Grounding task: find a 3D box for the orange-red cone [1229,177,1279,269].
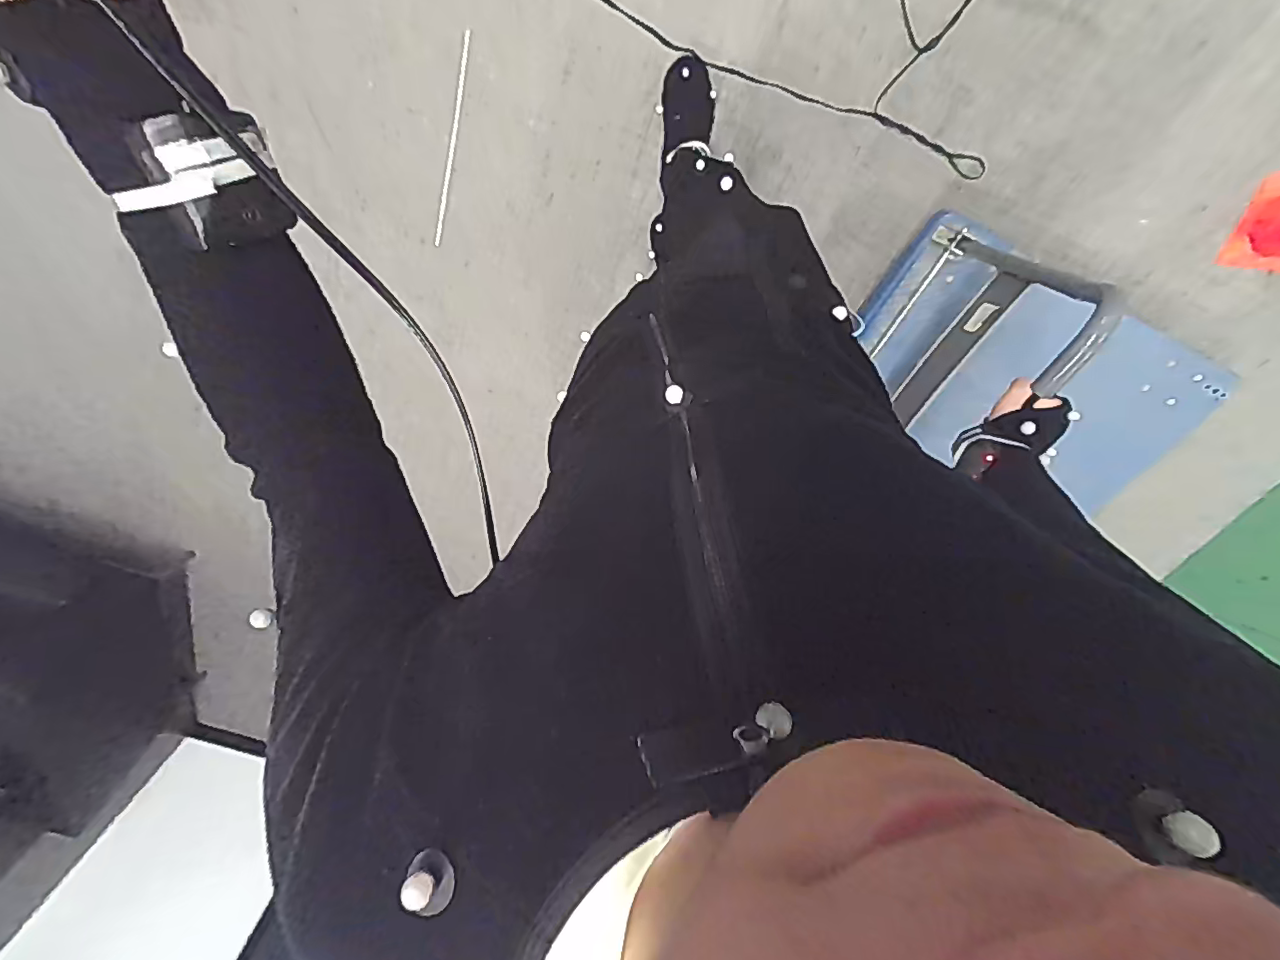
[{"bbox_3d":[1.491,-0.508,1.097,0.198,0.360,0.199,8,120,1],"label":"orange-red cone"}]
